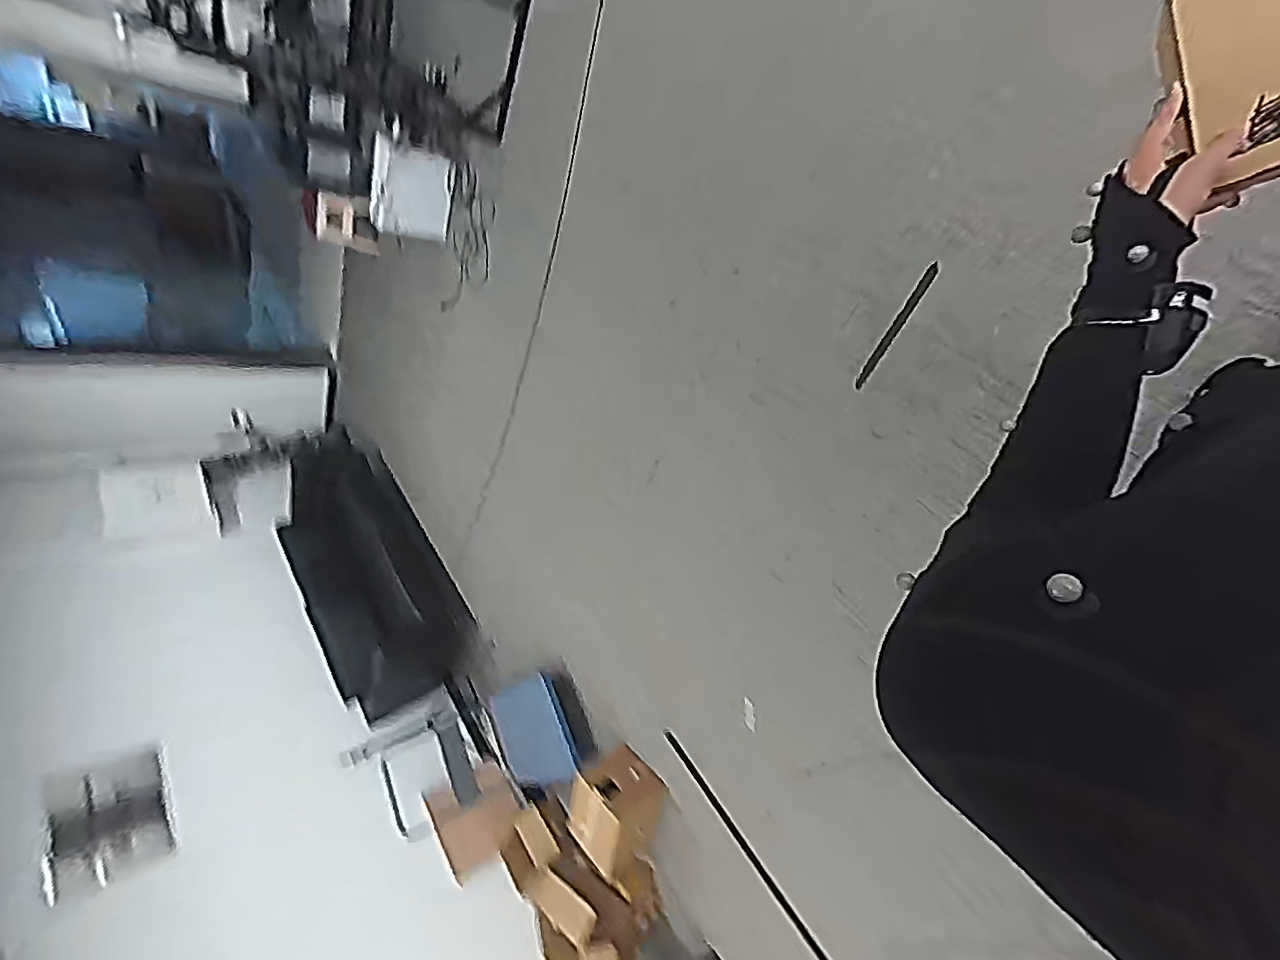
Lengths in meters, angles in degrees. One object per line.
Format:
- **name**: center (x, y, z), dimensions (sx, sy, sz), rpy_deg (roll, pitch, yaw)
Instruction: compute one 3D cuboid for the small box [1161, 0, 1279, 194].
- **small box**: center (0.559, -0.360, 0.449), dimensions (0.168, 0.176, 0.179), rpy_deg (-9, 101, 43)
